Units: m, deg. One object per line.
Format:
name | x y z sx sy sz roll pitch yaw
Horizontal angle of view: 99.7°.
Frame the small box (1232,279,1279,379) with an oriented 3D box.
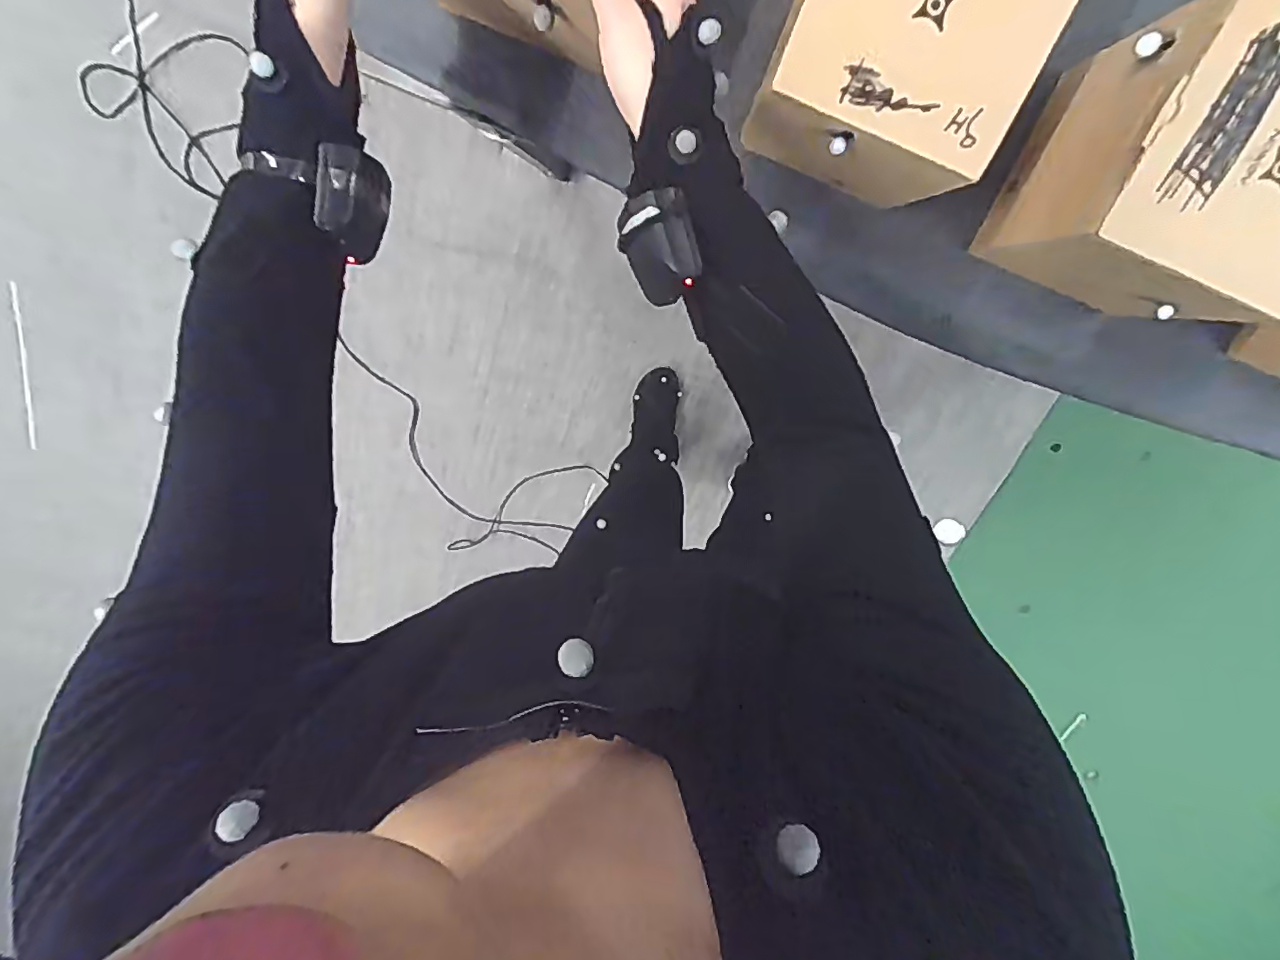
small box | 0.708 -0.144 0.462 0.179 0.176 0.168 21 108 -3
